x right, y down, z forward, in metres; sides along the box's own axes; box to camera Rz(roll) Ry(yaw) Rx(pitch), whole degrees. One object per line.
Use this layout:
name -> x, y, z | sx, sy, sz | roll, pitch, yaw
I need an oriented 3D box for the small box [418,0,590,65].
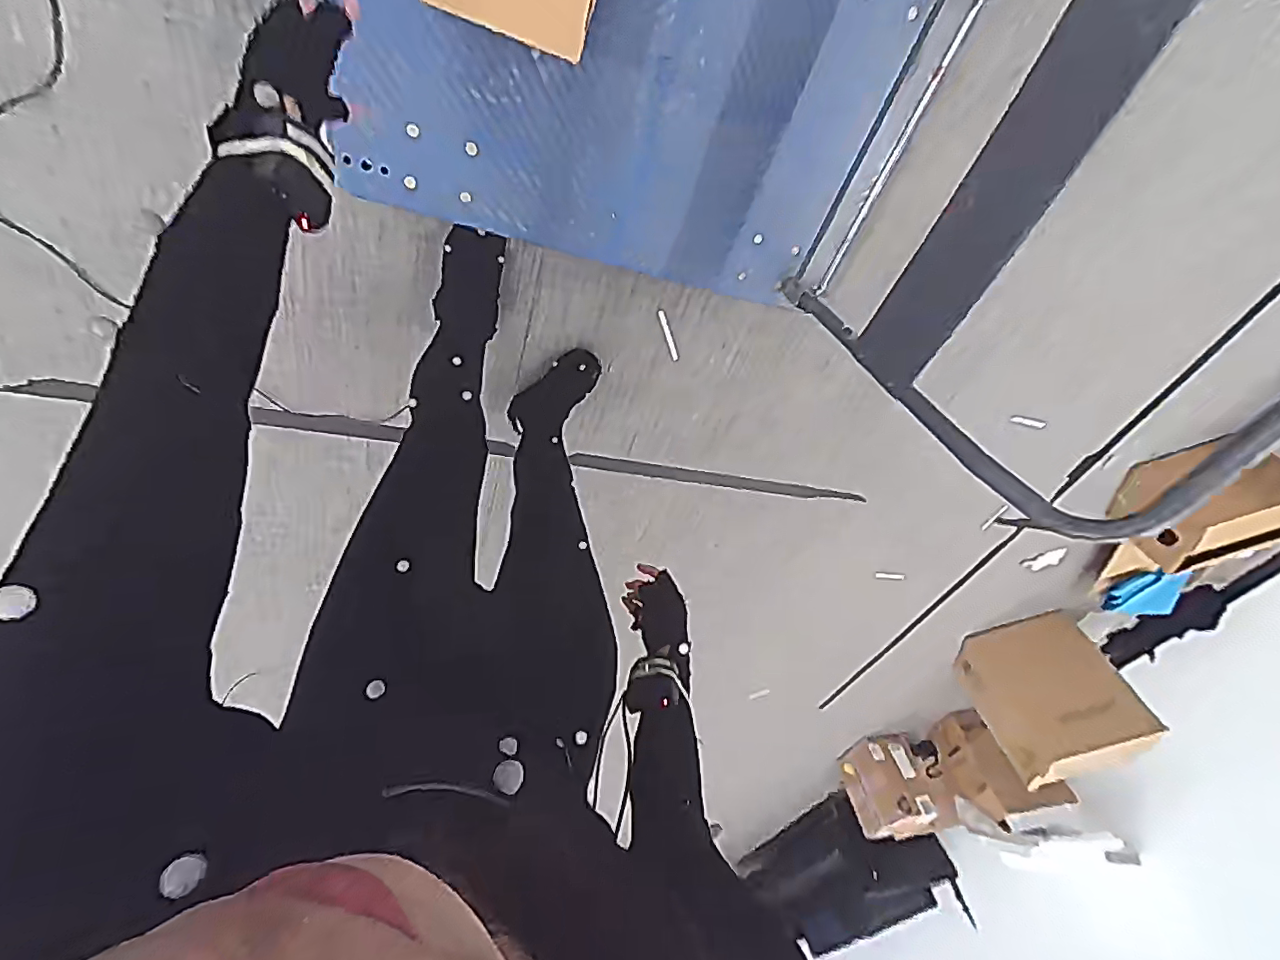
small box -> -0.144, -0.603, 0.603 | 0.179, 0.176, 0.168 | 7, 129, -21
